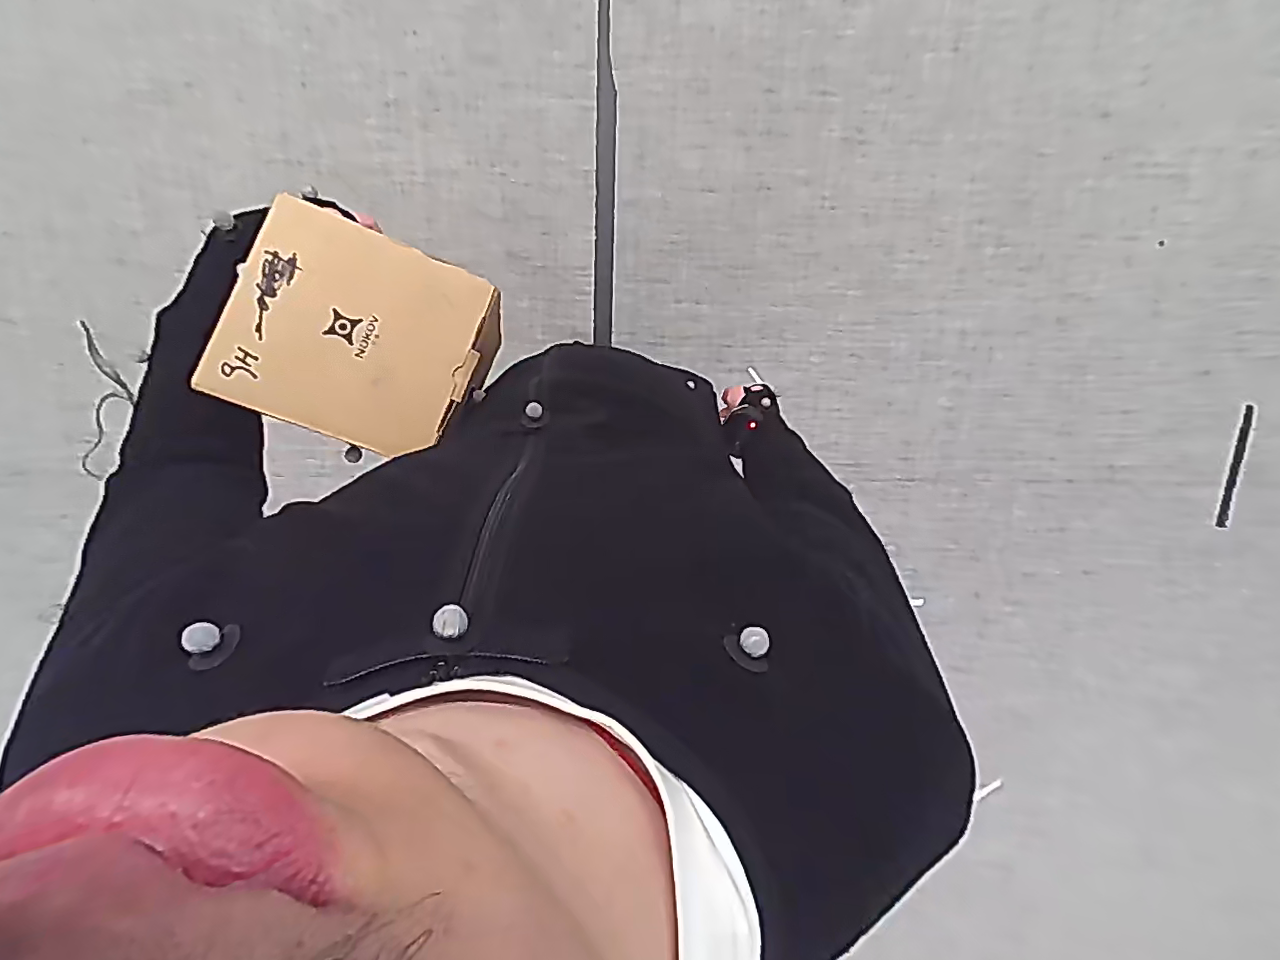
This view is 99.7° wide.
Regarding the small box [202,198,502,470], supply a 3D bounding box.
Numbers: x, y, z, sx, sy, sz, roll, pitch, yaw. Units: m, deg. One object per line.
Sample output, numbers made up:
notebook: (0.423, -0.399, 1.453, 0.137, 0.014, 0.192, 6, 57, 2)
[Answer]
small box: (-0.242, -0.114, 0.507, 0.179, 0.176, 0.168, 21, 83, -13)
